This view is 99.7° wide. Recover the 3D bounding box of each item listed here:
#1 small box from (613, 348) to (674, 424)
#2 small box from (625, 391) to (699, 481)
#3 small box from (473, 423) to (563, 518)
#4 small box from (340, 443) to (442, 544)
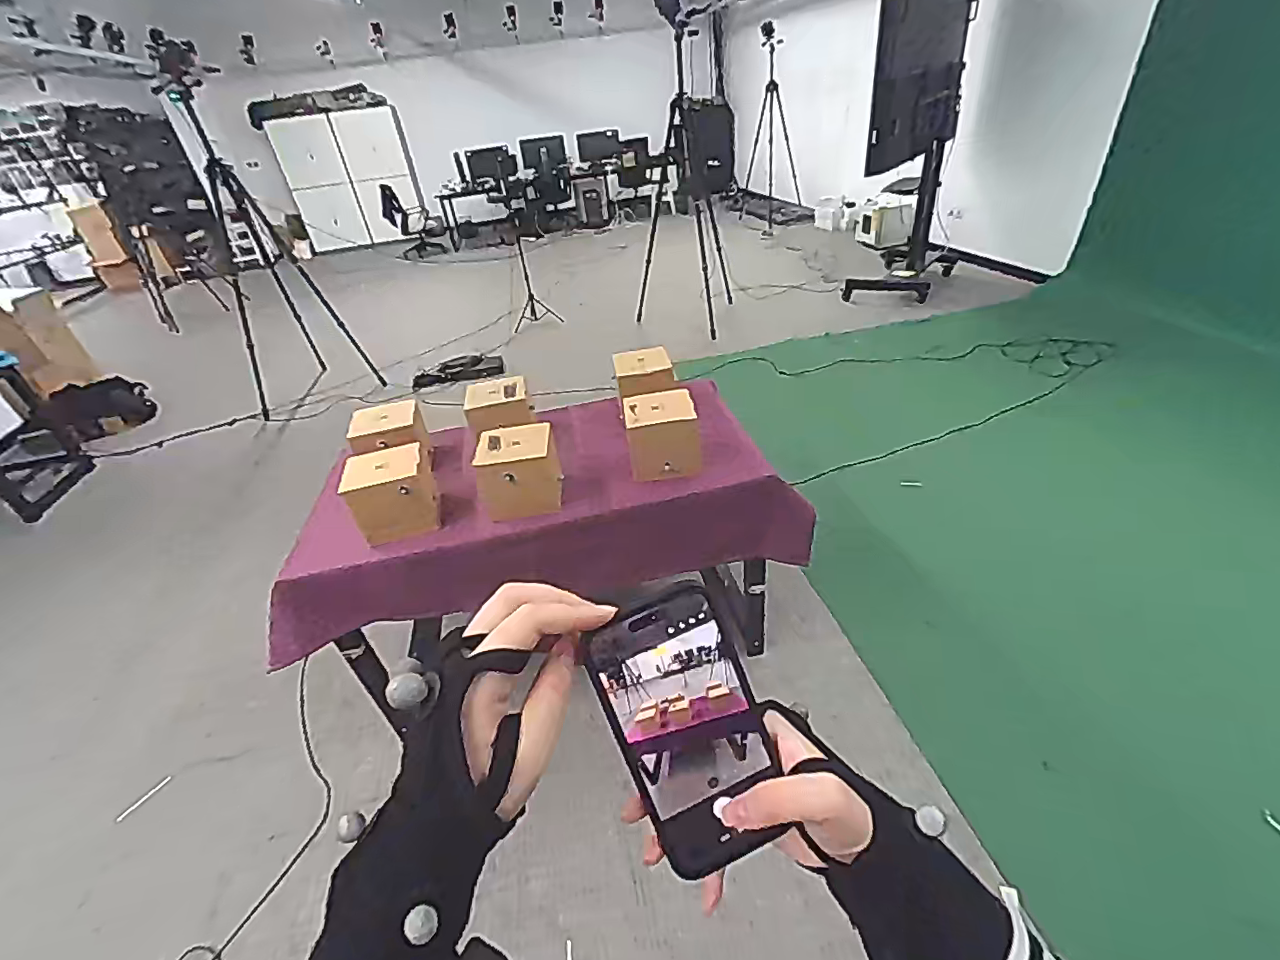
[{"bbox_3d":[0.012,-0.289,1.672,0.168,0.176,0.179,-10,36,-2],"label":"small box"},{"bbox_3d":[0.057,-0.114,1.416,0.179,0.176,0.168,-7,34,0],"label":"small box"},{"bbox_3d":[-0.296,-0.021,1.352,0.179,0.176,0.168,-8,35,-1],"label":"small box"},{"bbox_3d":[-0.604,0.036,1.333,0.179,0.176,0.168,-14,35,-11],"label":"small box"}]
